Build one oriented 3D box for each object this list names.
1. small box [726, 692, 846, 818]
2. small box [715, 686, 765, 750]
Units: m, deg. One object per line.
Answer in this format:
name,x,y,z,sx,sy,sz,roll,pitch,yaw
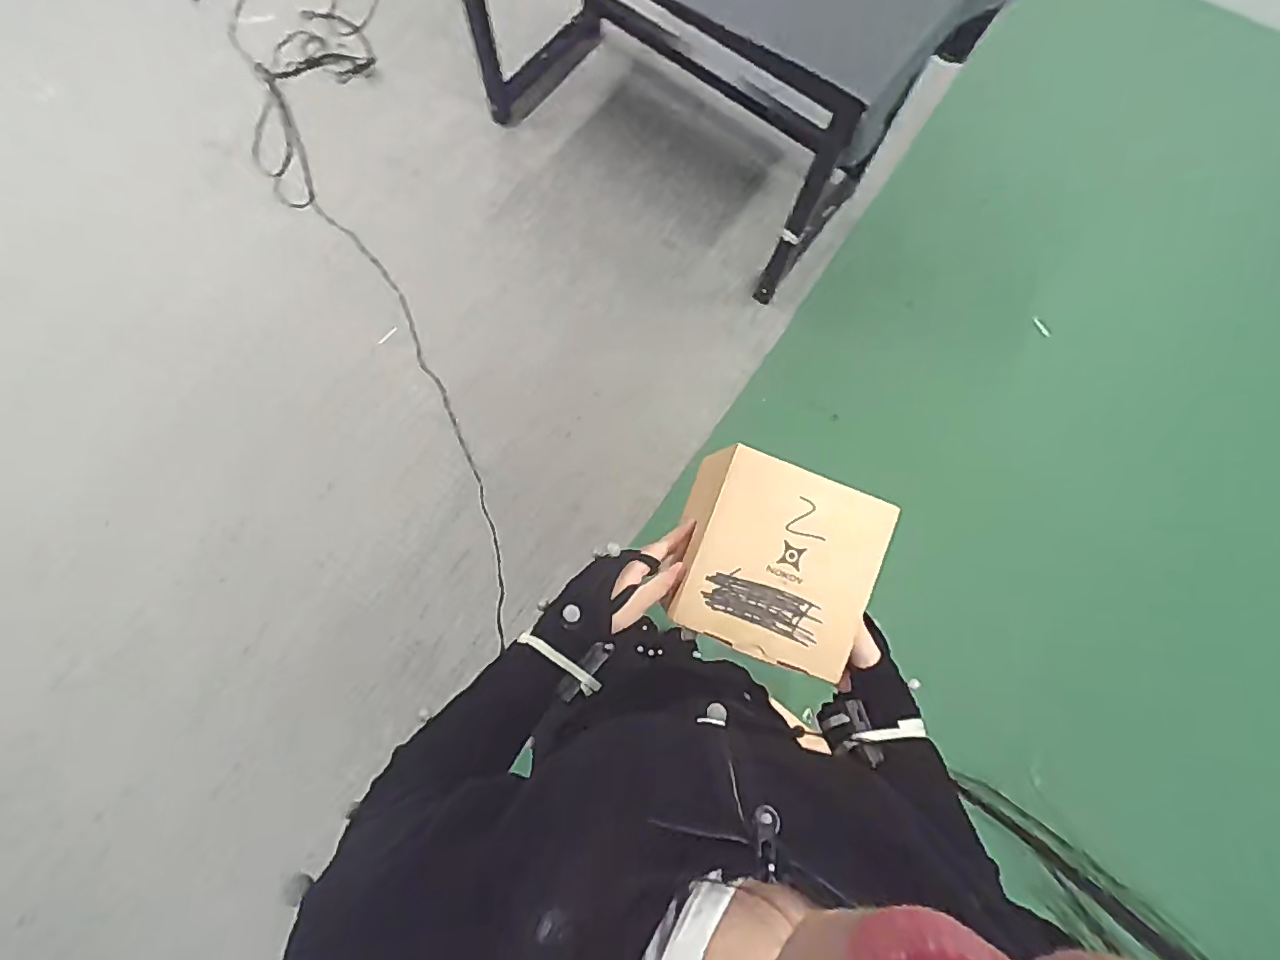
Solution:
small box,0.317,0.600,1.209,0.179,0.176,0.168,38,78,7
small box,0.310,0.642,1.369,0.179,0.176,0.168,36,78,6
